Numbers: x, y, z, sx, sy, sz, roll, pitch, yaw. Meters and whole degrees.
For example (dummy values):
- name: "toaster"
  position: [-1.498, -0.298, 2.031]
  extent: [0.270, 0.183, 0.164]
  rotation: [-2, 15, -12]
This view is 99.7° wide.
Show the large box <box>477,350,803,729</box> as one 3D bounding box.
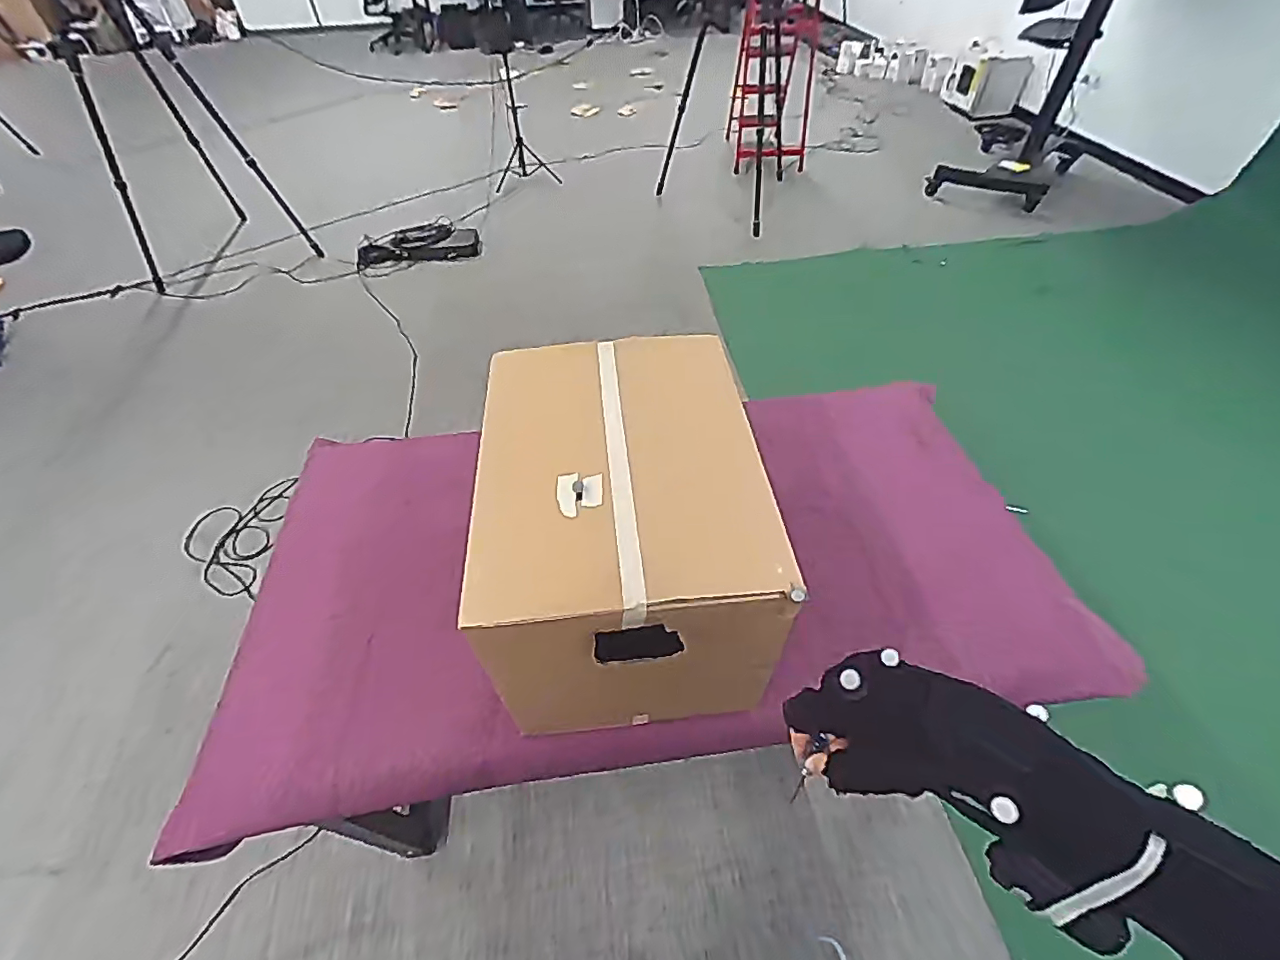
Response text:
- name: "large box"
  position: [-0.019, 0.073, 0.738]
  extent: [0.320, 0.320, 0.408]
  rotation: [-5, 50, -3]
